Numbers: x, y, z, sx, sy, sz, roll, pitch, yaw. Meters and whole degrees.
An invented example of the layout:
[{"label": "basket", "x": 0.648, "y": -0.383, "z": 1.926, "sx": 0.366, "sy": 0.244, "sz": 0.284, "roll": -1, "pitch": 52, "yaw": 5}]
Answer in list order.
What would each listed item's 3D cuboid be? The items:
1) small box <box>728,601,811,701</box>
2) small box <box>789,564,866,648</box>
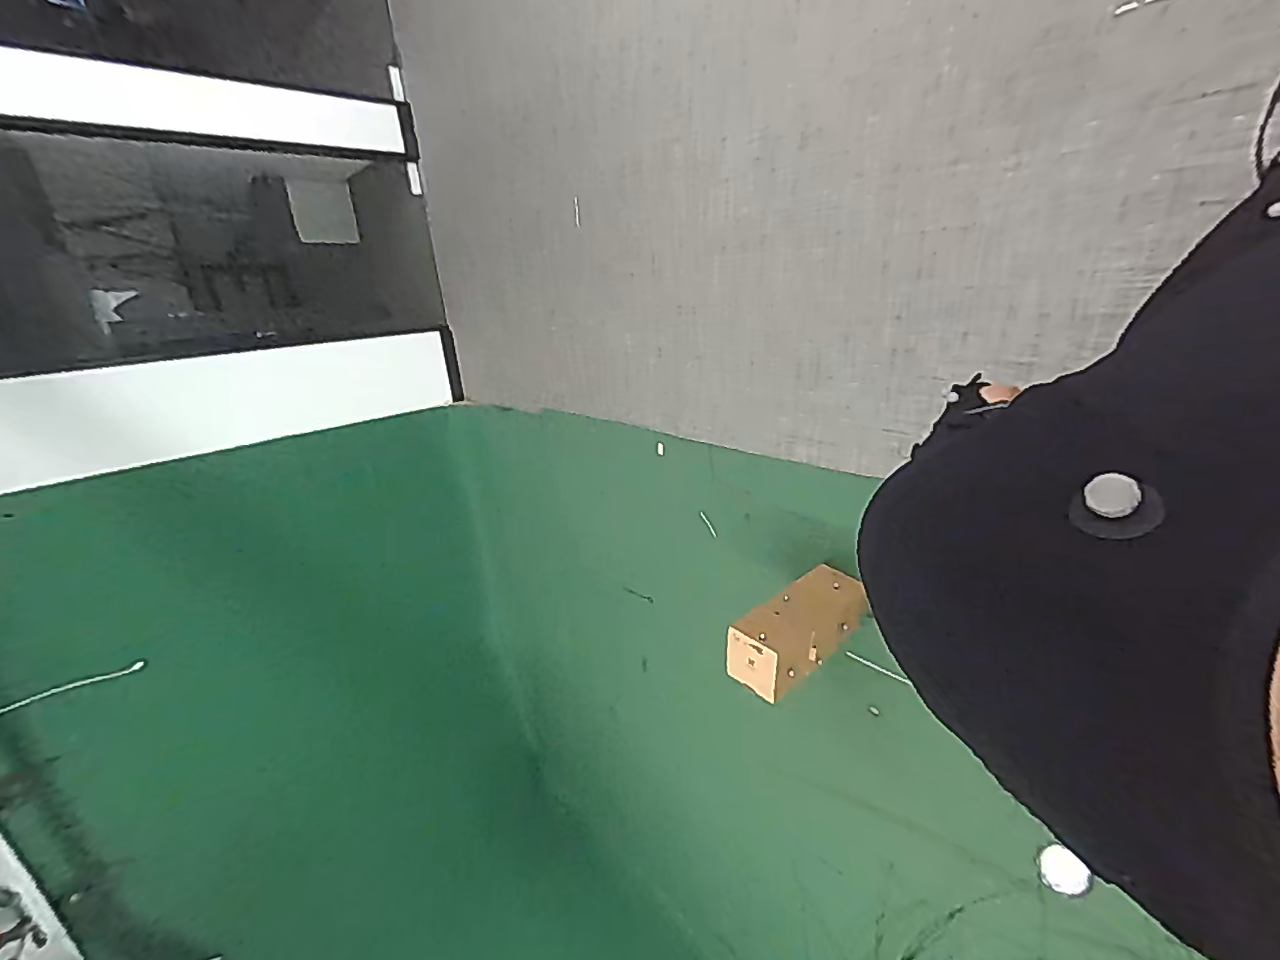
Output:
[{"label": "small box", "x": 0.368, "y": 0.478, "z": 1.533, "sx": 0.168, "sy": 0.176, "sz": 0.179, "roll": 22, "pitch": 123, "yaw": 44}, {"label": "small box", "x": 0.605, "y": 0.397, "z": 1.746, "sx": 0.168, "sy": 0.176, "sz": 0.179, "roll": 26, "pitch": 125, "yaw": 41}]
